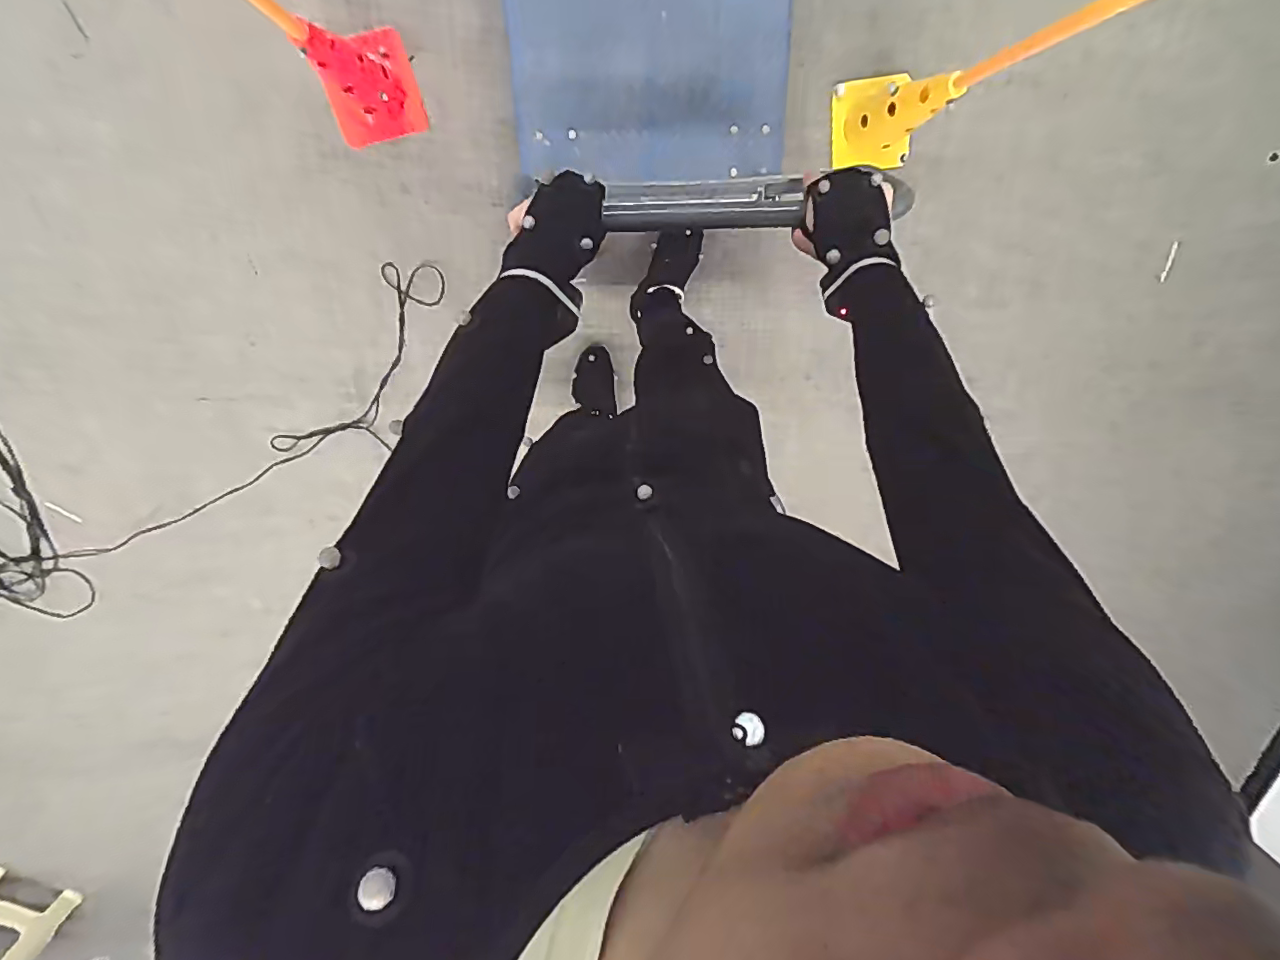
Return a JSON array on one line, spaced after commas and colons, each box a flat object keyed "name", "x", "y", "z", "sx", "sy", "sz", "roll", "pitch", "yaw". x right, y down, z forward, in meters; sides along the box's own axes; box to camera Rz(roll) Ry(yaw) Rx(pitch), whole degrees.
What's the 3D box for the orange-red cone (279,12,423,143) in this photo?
[{"name": "orange-red cone", "x": -0.591, "y": -0.814, "z": 1.052, "sx": 0.199, "sy": 0.360, "sz": 0.198, "roll": -13, "pitch": 113, "yaw": 1}]
